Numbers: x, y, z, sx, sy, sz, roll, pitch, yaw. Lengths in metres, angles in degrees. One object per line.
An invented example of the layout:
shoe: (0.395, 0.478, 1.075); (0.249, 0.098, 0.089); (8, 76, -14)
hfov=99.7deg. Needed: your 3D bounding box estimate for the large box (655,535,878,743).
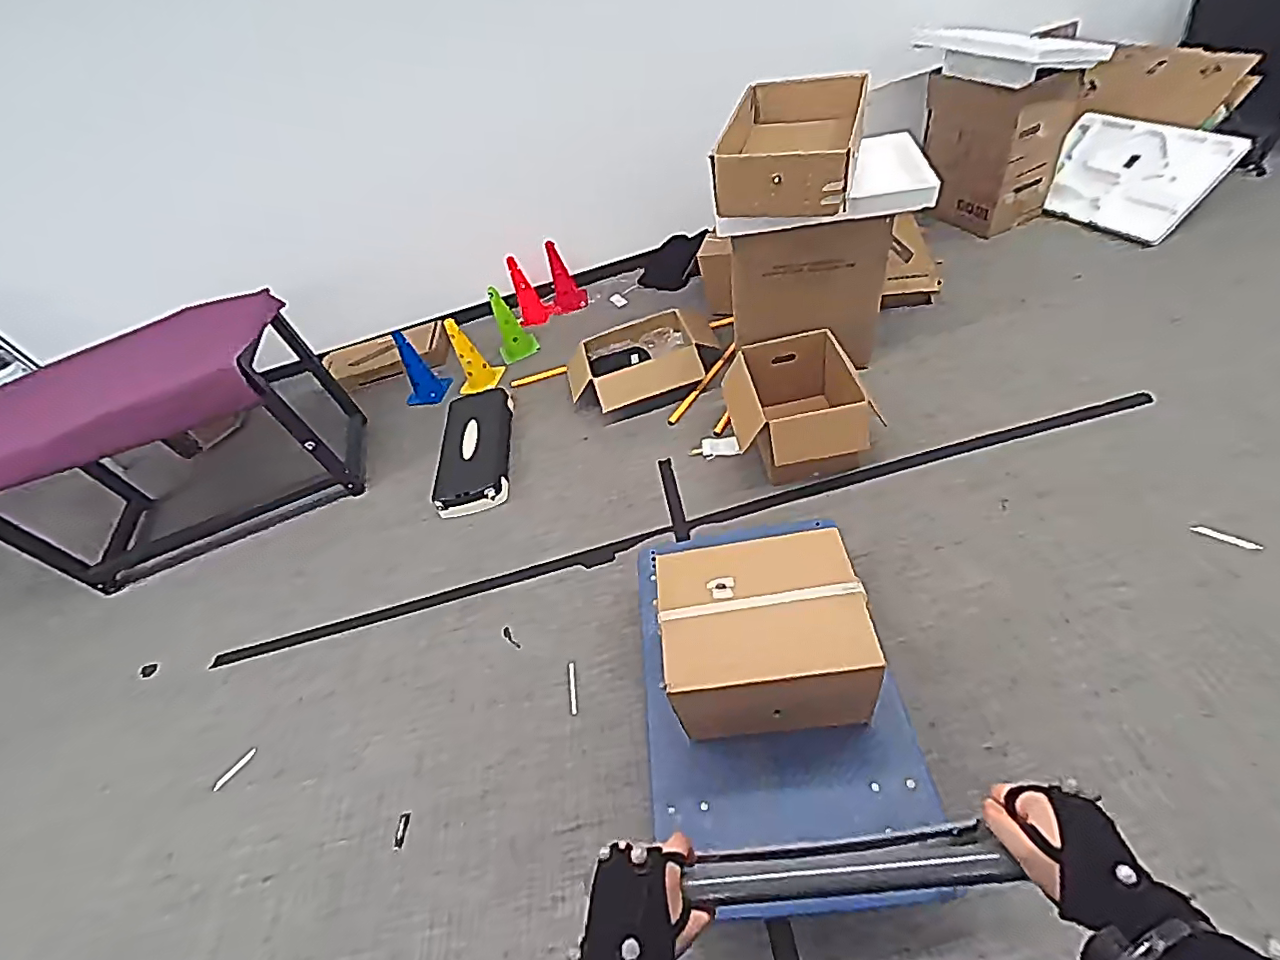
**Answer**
large box: (0.272, 0.368, 1.219); (0.408, 0.320, 0.320); (-11, 46, 8)
